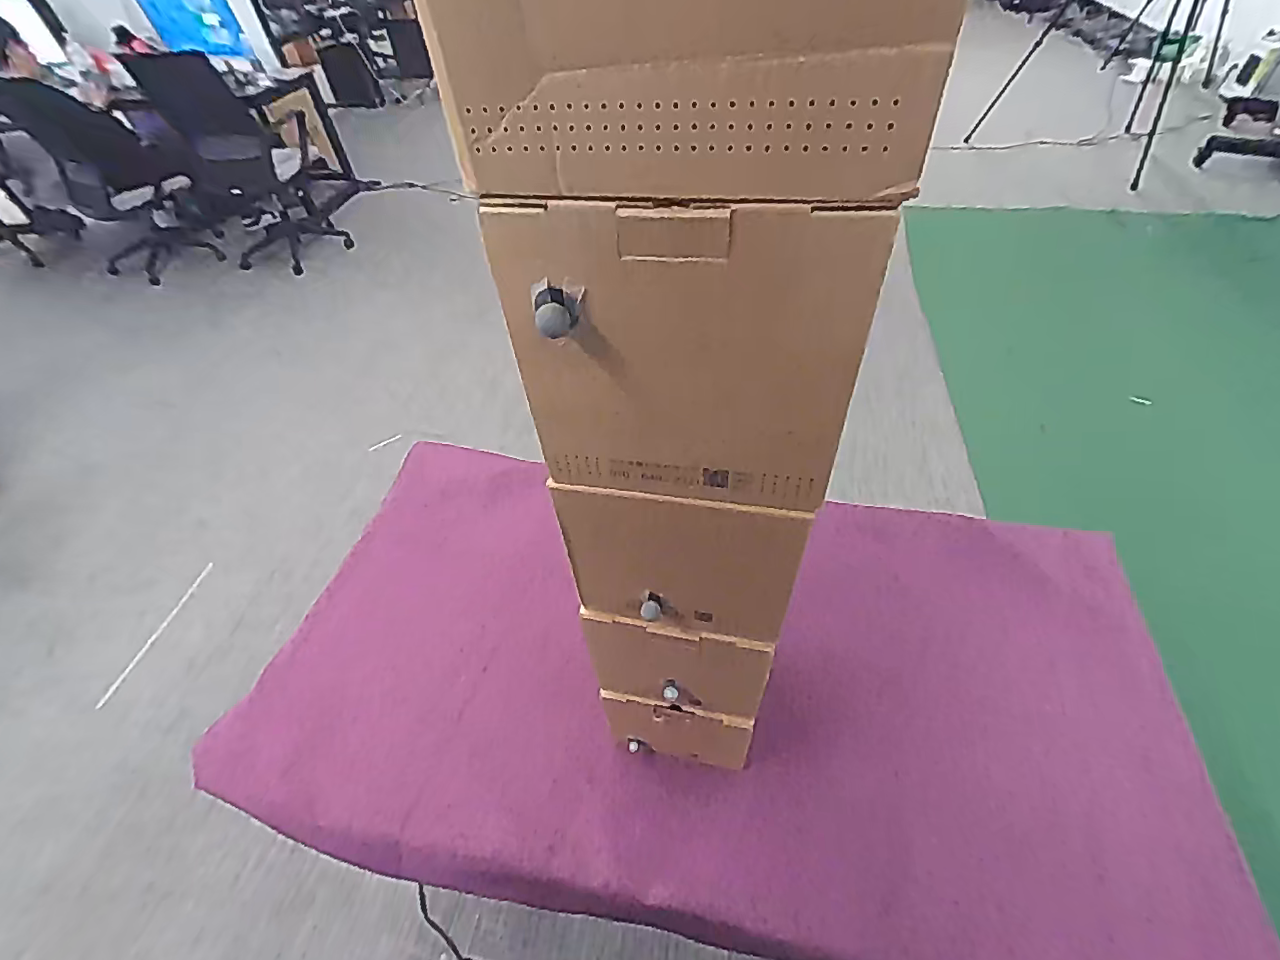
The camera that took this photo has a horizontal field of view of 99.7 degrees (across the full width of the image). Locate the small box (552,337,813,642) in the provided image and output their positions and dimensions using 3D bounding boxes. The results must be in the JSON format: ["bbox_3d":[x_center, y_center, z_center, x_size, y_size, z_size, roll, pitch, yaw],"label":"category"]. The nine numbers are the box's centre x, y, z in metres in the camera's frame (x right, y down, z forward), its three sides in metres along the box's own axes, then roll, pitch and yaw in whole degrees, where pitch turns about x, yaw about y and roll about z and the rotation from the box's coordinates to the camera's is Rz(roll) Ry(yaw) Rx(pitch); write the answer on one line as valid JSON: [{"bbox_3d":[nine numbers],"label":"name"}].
[{"bbox_3d":[0.043,0.006,0.449,0.168,0.176,0.179,7,49,11],"label":"small box"}]

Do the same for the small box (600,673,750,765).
[{"bbox_3d":[0.059,0.234,0.682,0.168,0.176,0.179,8,49,11],"label":"small box"}]

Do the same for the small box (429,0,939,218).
[{"bbox_3d":[0.022,-0.219,0.213,0.179,0.176,0.168,7,48,11],"label":"small box"}]

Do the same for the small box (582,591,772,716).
[{"bbox_3d":[0.050,0.118,0.566,0.168,0.176,0.179,7,49,11],"label":"small box"}]
